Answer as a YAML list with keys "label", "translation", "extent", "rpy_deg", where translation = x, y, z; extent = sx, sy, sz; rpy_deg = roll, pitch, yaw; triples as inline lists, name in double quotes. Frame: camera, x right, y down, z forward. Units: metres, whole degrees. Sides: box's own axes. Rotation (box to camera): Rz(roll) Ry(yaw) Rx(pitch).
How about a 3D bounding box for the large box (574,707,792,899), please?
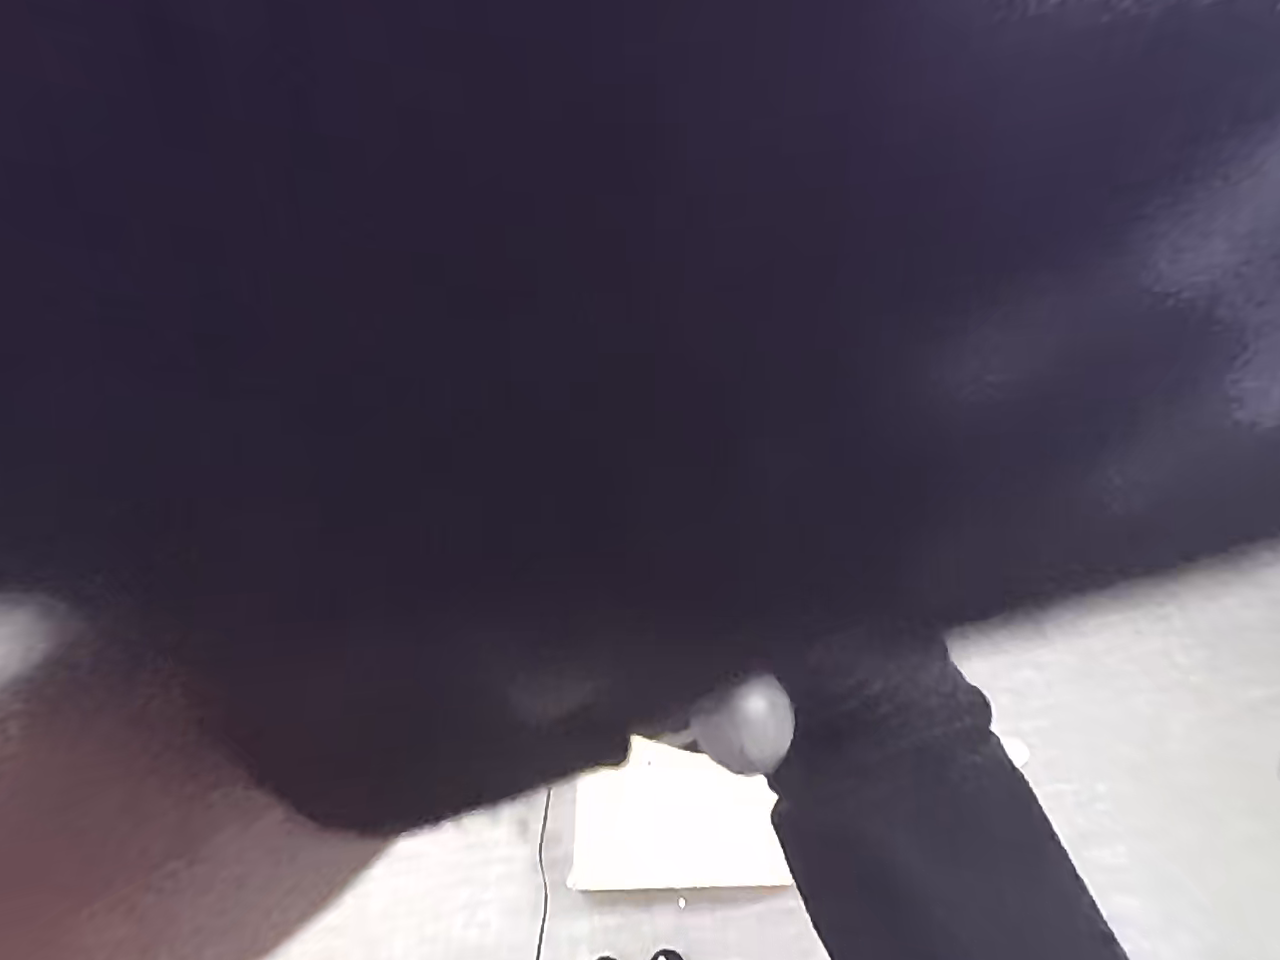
- label: "large box"
  translation: [0.082, 0.714, 1.187]
  extent: [0.408, 0.320, 0.320]
  rpy_deg: [-2, 48, 1]
